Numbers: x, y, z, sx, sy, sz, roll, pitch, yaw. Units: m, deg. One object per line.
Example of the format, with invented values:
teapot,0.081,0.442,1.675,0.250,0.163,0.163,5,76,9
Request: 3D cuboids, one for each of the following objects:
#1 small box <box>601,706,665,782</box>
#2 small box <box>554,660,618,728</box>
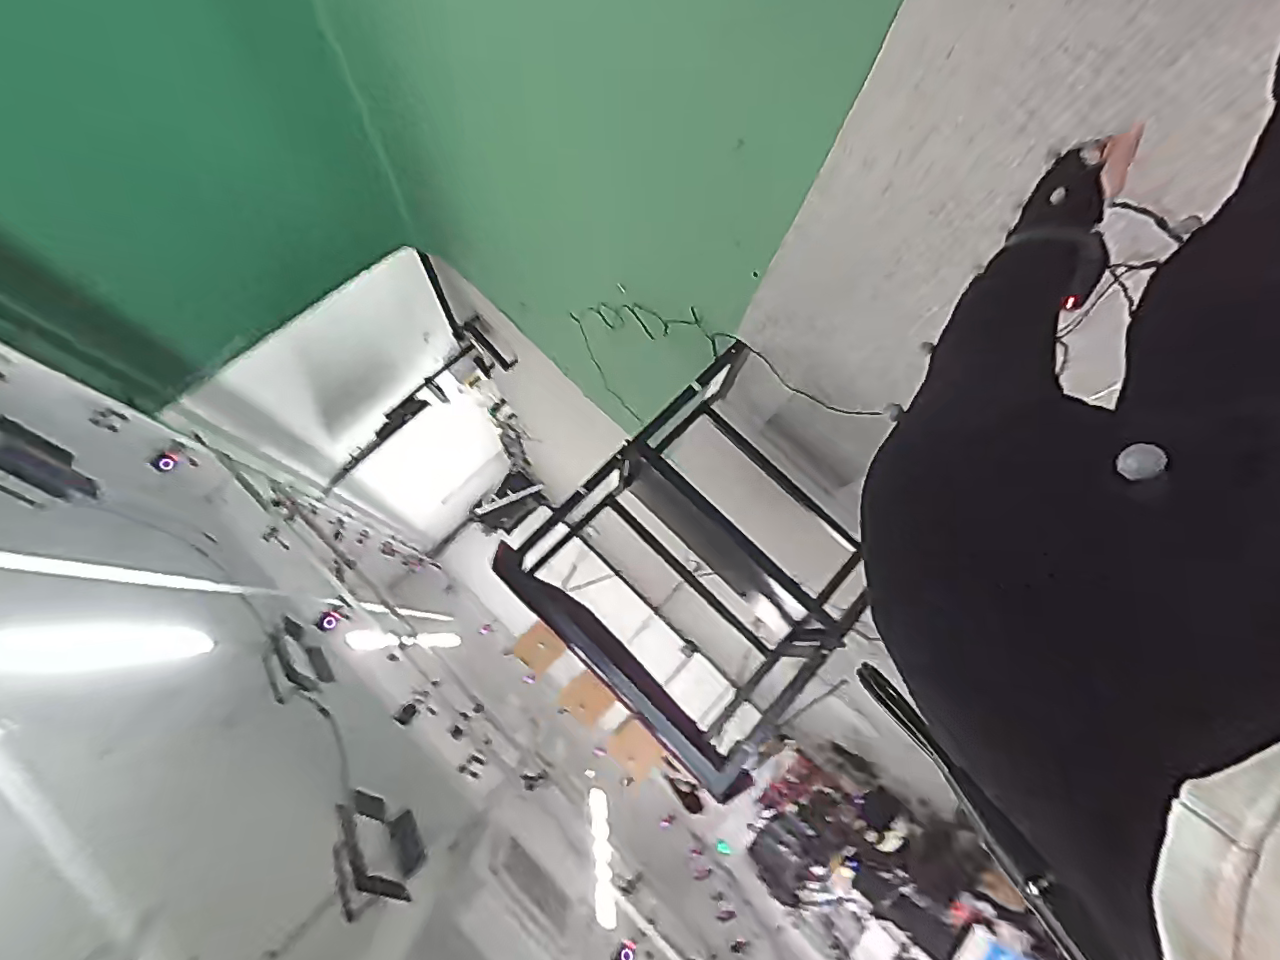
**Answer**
small box,-0.026,0.987,2.037,0.179,0.176,0.168,46,165,6
small box,-0.205,0.811,2.071,0.179,0.176,0.168,43,166,9
